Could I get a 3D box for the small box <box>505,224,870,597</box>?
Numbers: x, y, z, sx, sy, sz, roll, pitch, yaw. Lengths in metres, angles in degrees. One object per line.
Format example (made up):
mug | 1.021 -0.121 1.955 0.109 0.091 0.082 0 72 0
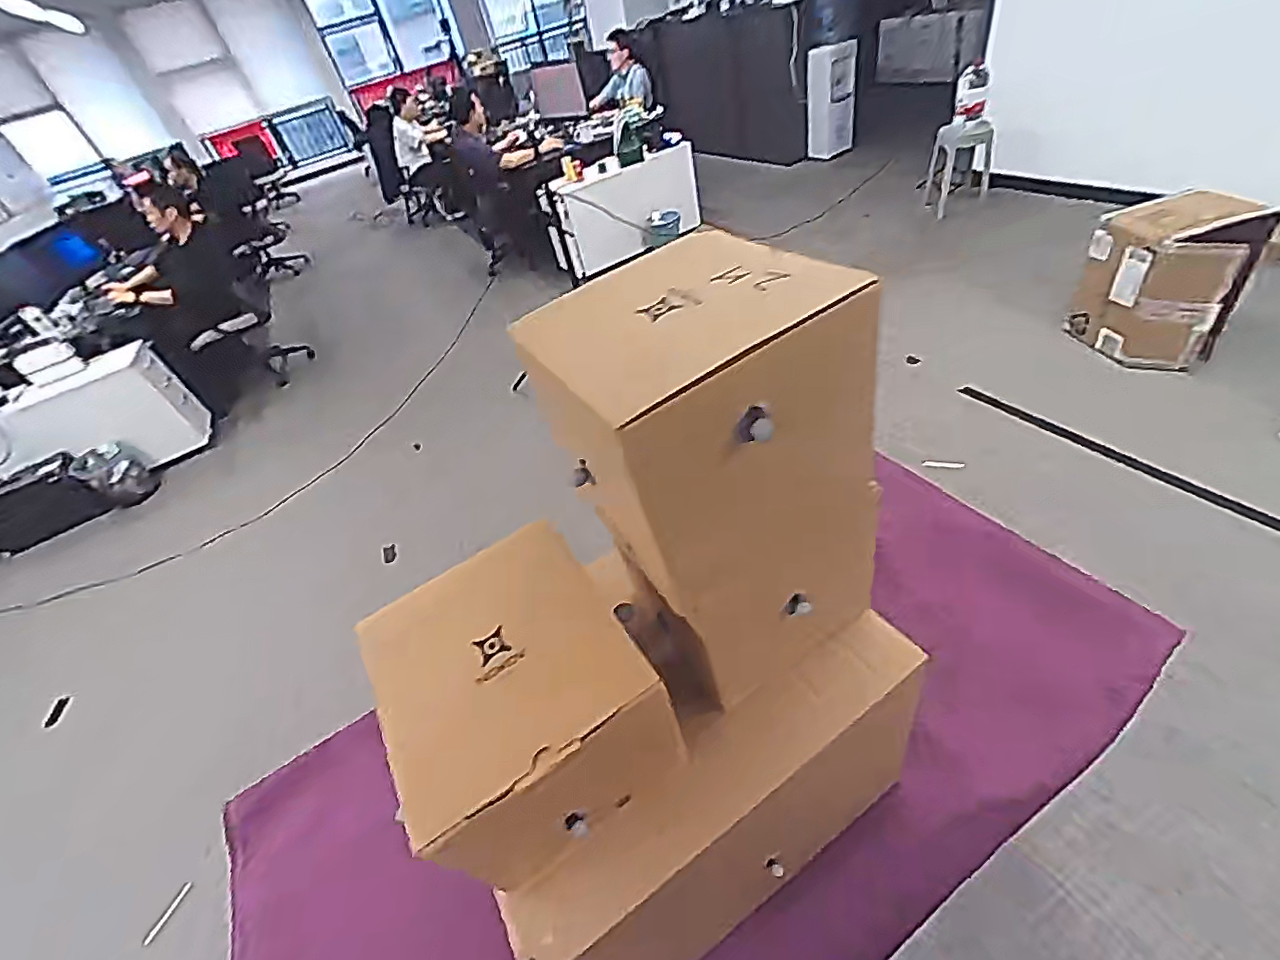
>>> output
small box | 0.037 -0.052 0.383 0.179 0.176 0.168 -31 43 -13
